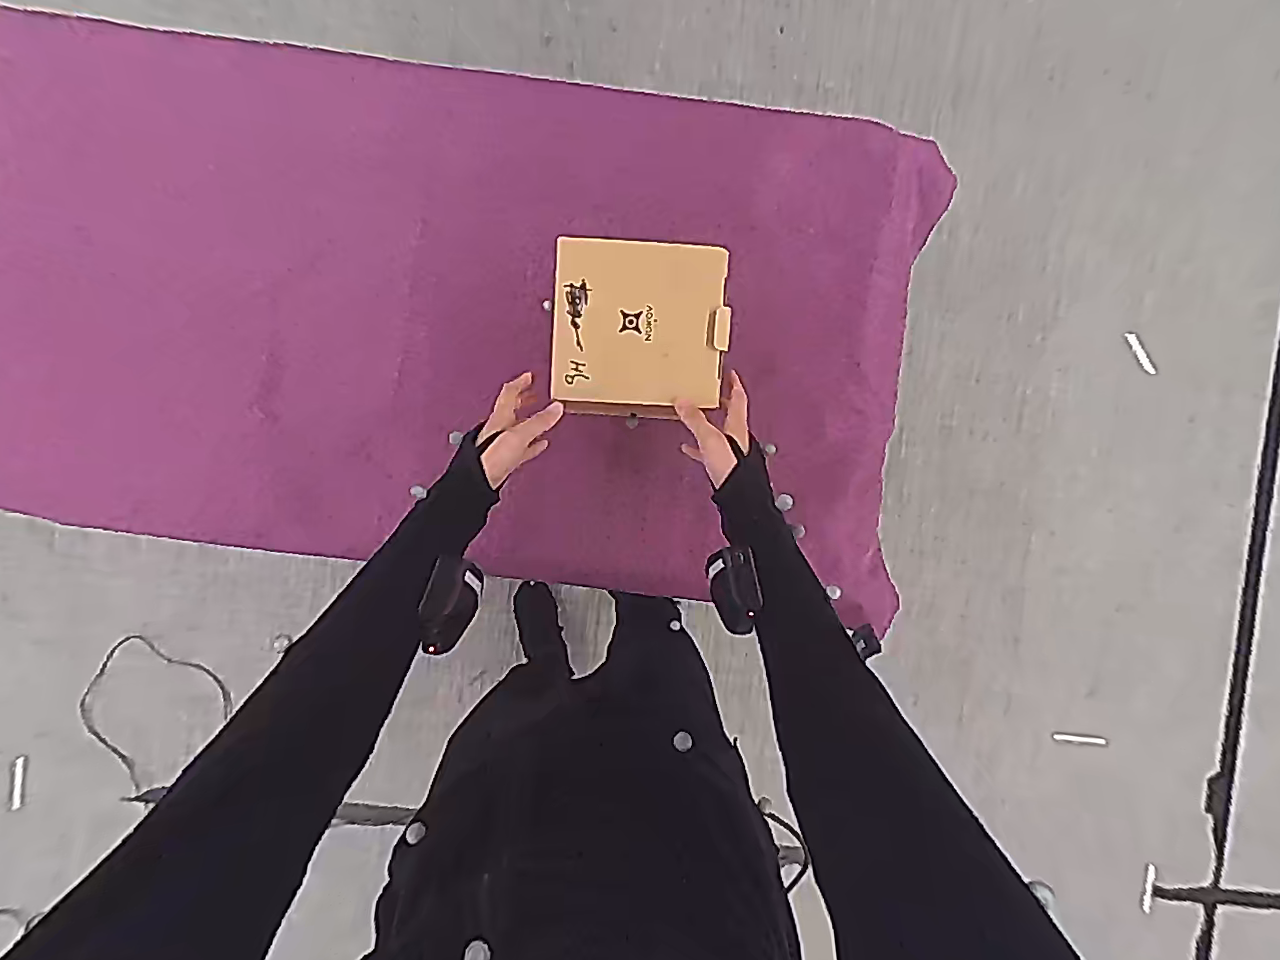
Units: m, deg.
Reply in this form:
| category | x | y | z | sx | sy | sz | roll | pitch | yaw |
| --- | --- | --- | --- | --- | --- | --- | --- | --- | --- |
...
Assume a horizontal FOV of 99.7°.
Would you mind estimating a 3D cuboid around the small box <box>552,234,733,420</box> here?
| category | x | y | z | sx | sy | sz | roll | pitch | yaw |
| --- | --- | --- | --- | --- | --- | --- | --- | --- | --- |
| small box | -0.001 | -0.161 | 0.624 | 0.179 | 0.176 | 0.168 | 3 | 91 | -3 |
